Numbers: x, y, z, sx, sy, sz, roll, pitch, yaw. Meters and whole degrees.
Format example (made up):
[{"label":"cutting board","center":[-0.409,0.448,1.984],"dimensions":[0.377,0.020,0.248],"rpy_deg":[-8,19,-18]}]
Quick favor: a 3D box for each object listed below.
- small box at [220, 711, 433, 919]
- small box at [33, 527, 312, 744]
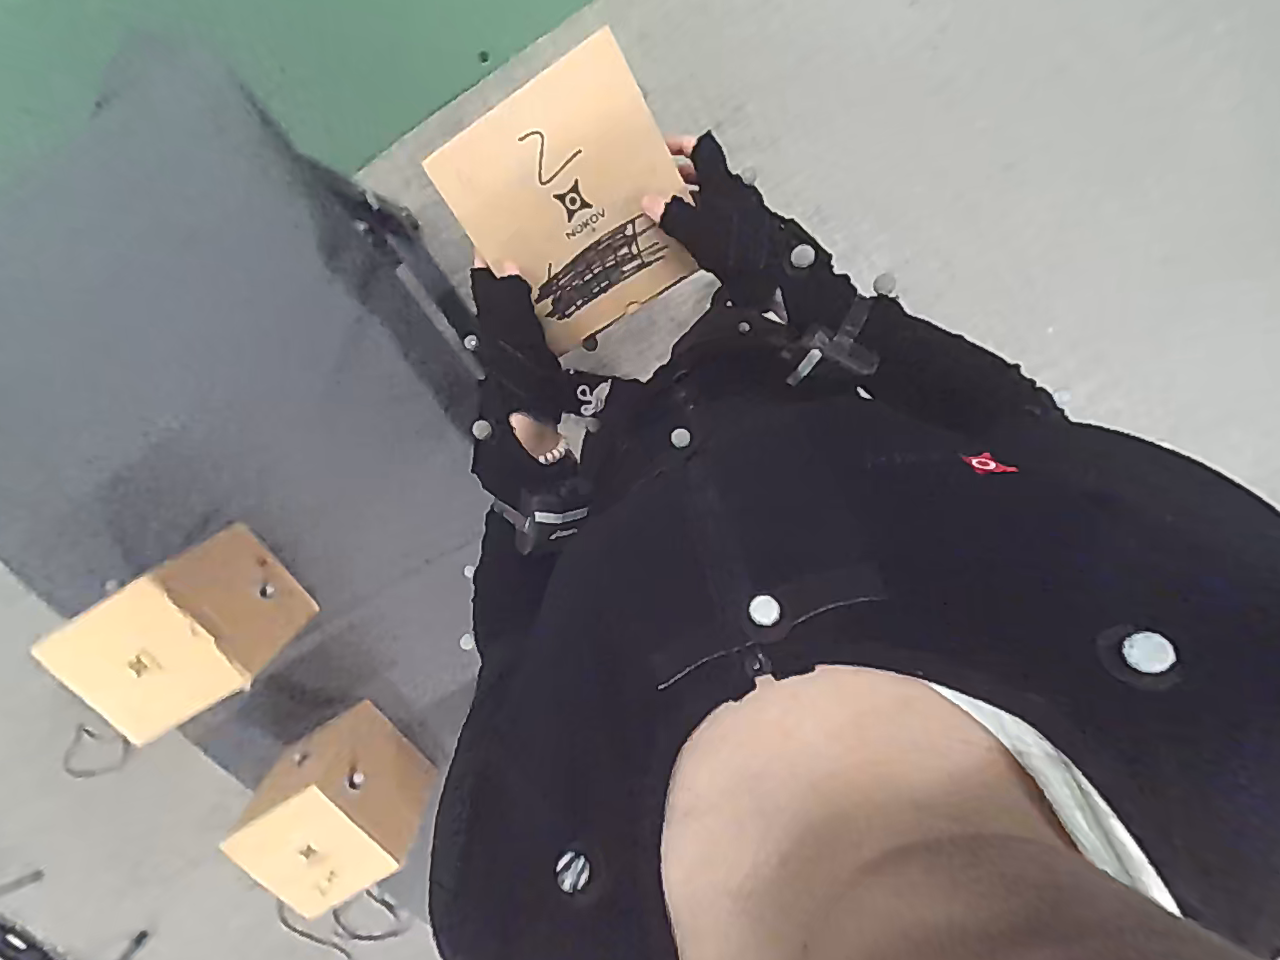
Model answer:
[{"label":"small box","center":[-0.439,0.472,0.792],"dimensions":[0.168,0.176,0.179],"rpy_deg":[-32,107,5]},{"label":"small box","center":[-0.581,0.190,0.702],"dimensions":[0.179,0.176,0.168],"rpy_deg":[-31,106,5]}]
